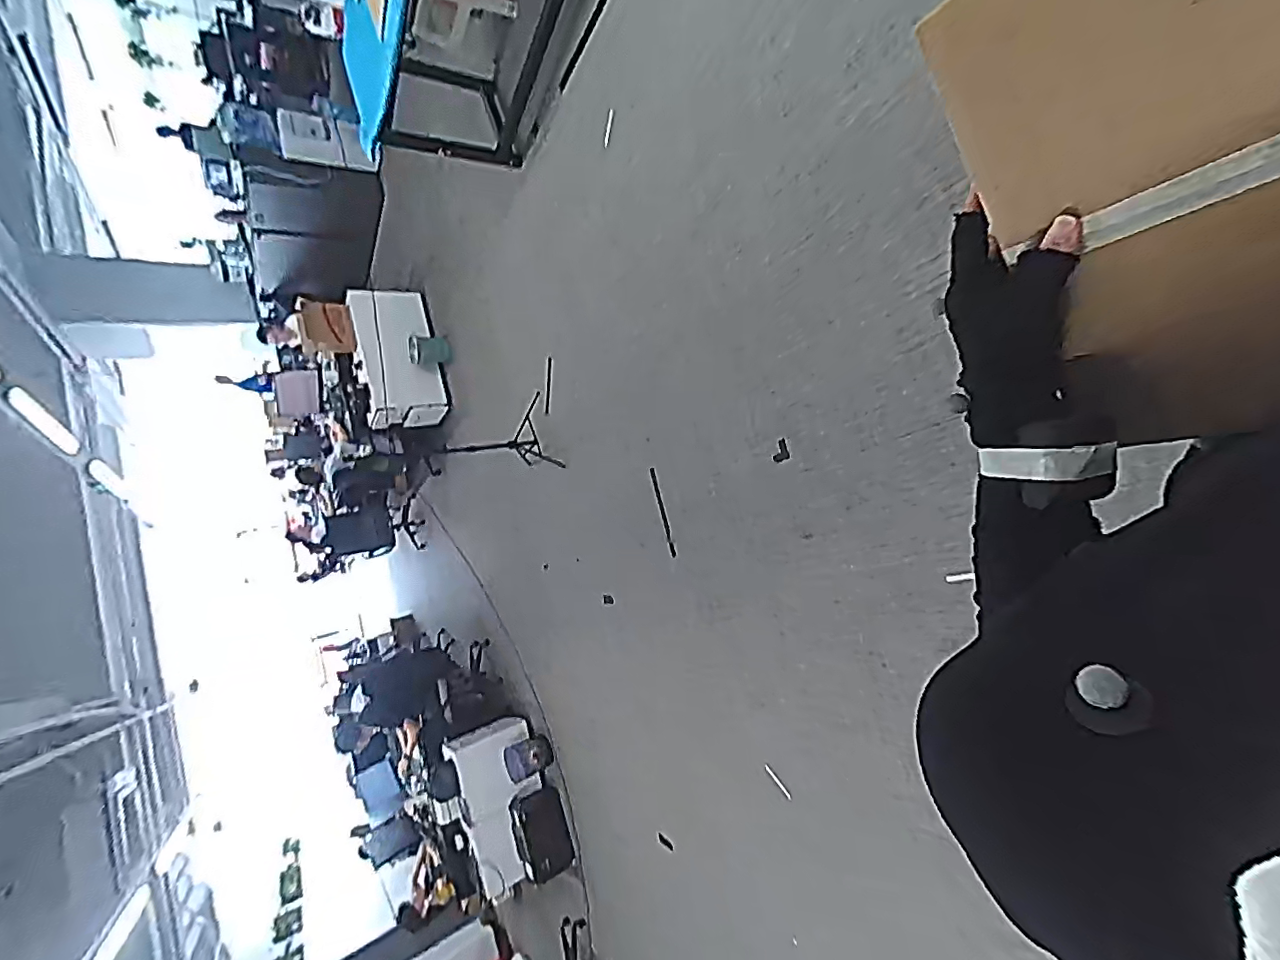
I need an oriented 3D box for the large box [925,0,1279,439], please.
[{"bbox_3d":[0.459,-0.262,0.286,0.320,0.320,0.408,55,149,-15],"label":"large box"}]
